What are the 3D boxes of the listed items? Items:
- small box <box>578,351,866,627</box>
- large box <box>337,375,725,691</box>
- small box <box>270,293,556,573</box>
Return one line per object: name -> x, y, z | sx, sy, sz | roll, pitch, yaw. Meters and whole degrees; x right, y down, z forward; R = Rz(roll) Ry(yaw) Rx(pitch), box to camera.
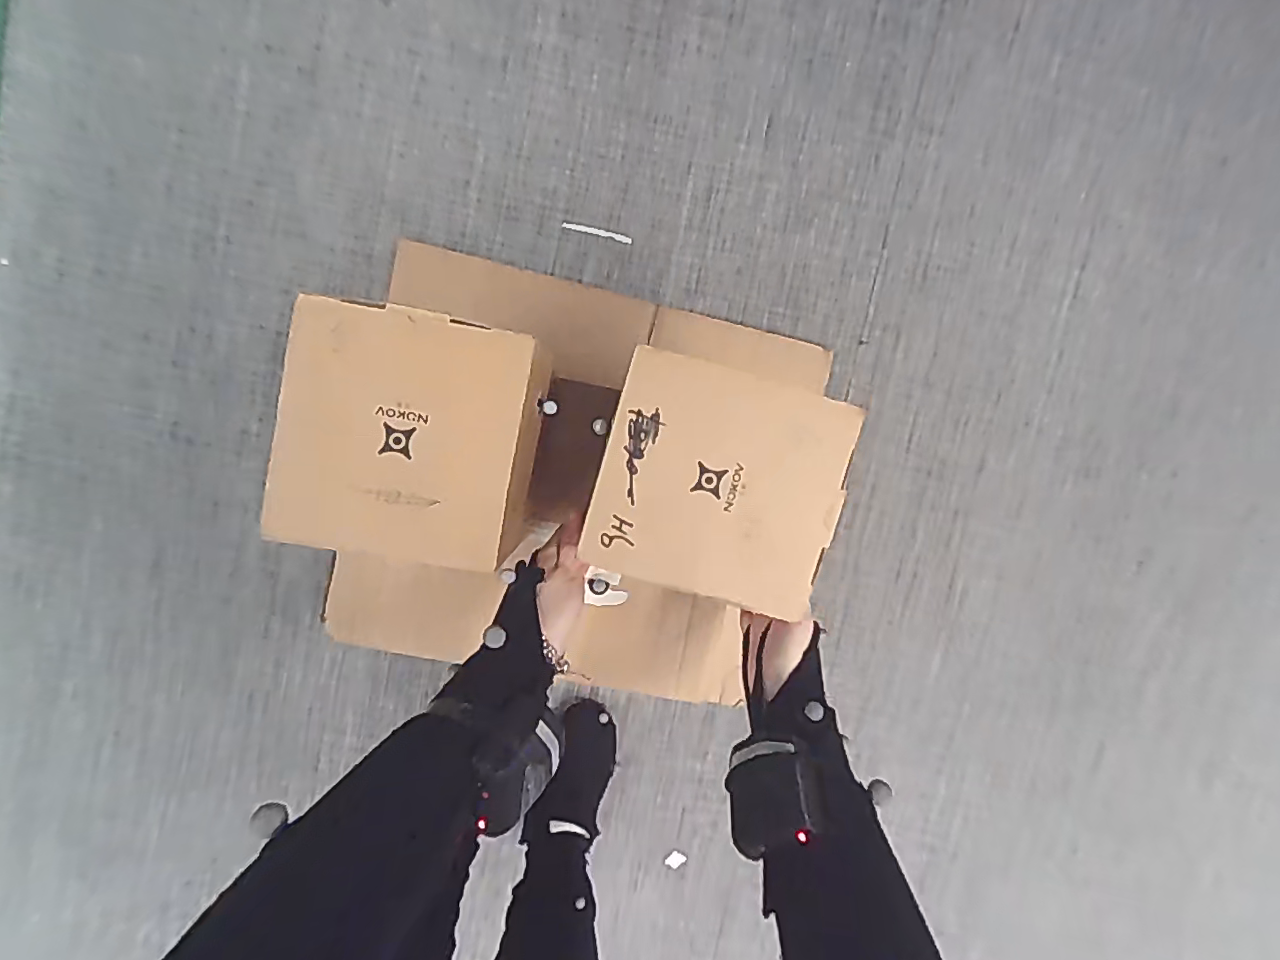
small box -> 0.058, 0.004, 0.473 | 0.179, 0.176, 0.168 | 17, 91, -2
large box -> -0.105, 0.039, 0.712 | 0.408, 0.320, 0.320 | 11, 93, -5
small box -> -0.169, -0.035, 0.459 | 0.168, 0.176, 0.179 | 9, 92, -4
